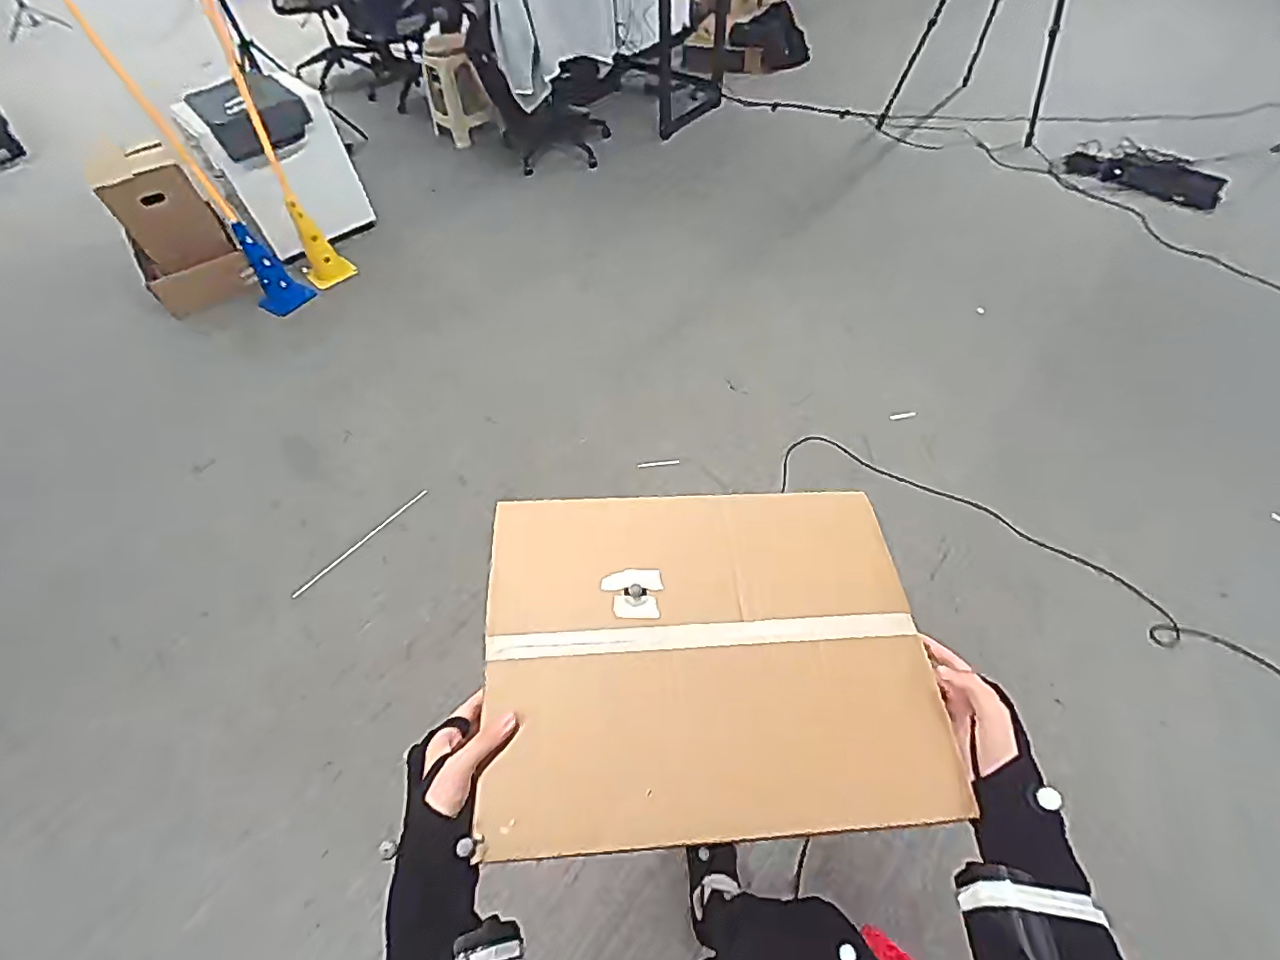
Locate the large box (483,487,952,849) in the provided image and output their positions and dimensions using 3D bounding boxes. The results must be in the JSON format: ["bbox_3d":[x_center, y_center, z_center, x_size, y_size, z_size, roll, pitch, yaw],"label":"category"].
[{"bbox_3d":[0.053,0.225,0.645,0.408,0.320,0.320,-2,58,-5],"label":"large box"}]
